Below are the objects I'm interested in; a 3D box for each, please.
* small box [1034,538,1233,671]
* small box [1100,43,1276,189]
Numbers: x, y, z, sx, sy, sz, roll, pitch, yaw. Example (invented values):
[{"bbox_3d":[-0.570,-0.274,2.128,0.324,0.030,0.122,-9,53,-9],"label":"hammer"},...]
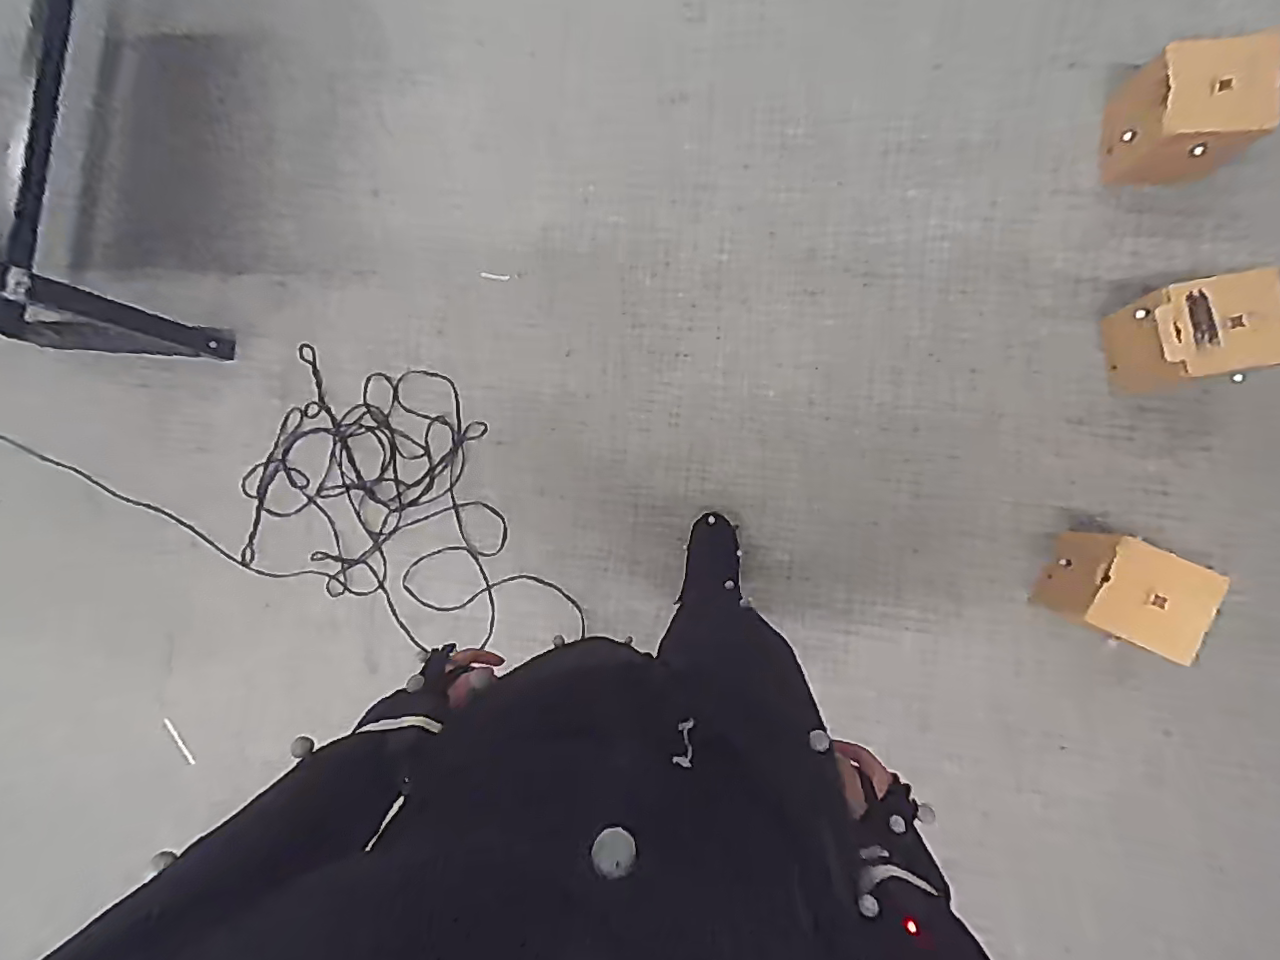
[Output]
[{"bbox_3d":[0.882,0.213,0.987,0.179,0.176,0.168,25,91,9],"label":"small box"},{"bbox_3d":[1.017,-0.673,1.020,0.179,0.176,0.168,3,88,8],"label":"small box"}]
